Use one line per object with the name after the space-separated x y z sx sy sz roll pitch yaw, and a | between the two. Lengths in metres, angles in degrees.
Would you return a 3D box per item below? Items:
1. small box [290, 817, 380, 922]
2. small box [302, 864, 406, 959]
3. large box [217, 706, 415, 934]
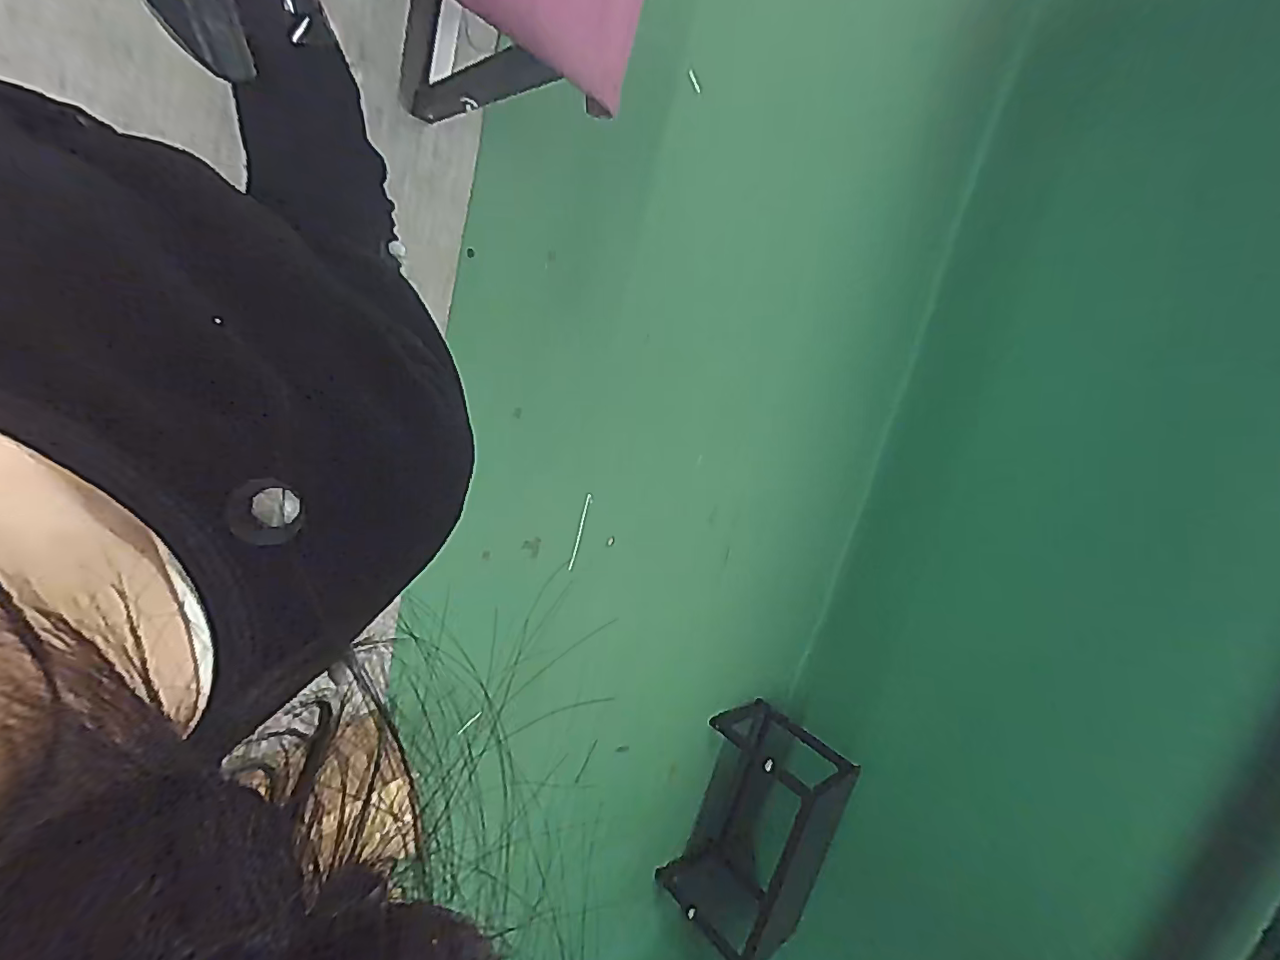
-0.776 1.002 1.374 0.168 0.176 0.179 -8 114 -42 | small box
-0.671 1.059 1.265 0.179 0.176 0.168 -6 113 -43 | small box
-0.925 0.949 1.567 0.408 0.320 0.320 -16 120 -42 | large box
